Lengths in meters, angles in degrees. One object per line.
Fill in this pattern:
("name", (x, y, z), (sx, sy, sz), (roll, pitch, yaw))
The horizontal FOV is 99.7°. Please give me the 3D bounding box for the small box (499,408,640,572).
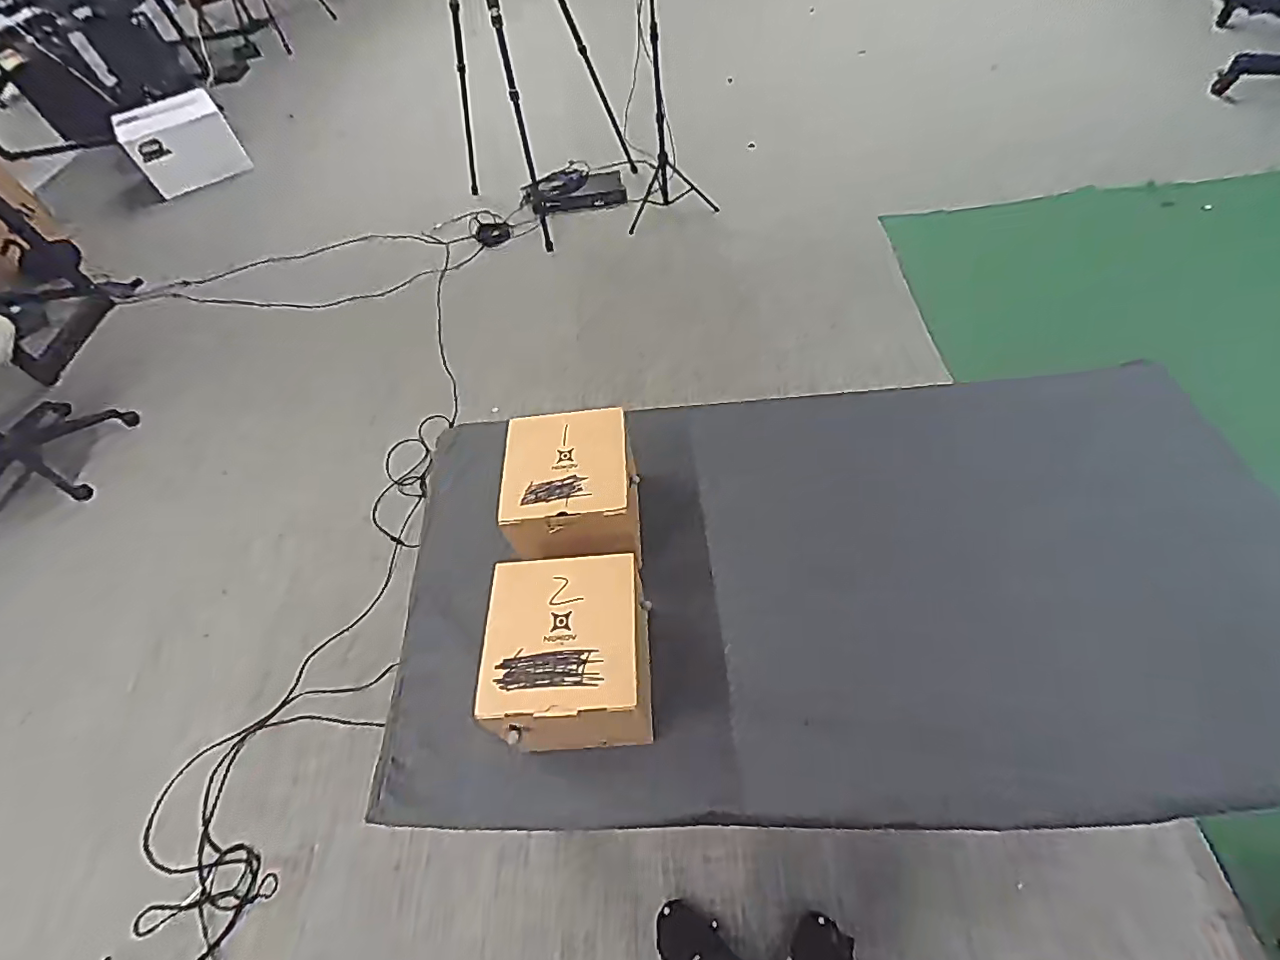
("small box", (-0.091, 0.023, 0.782), (0.168, 0.176, 0.179), (-6, 54, 3))
